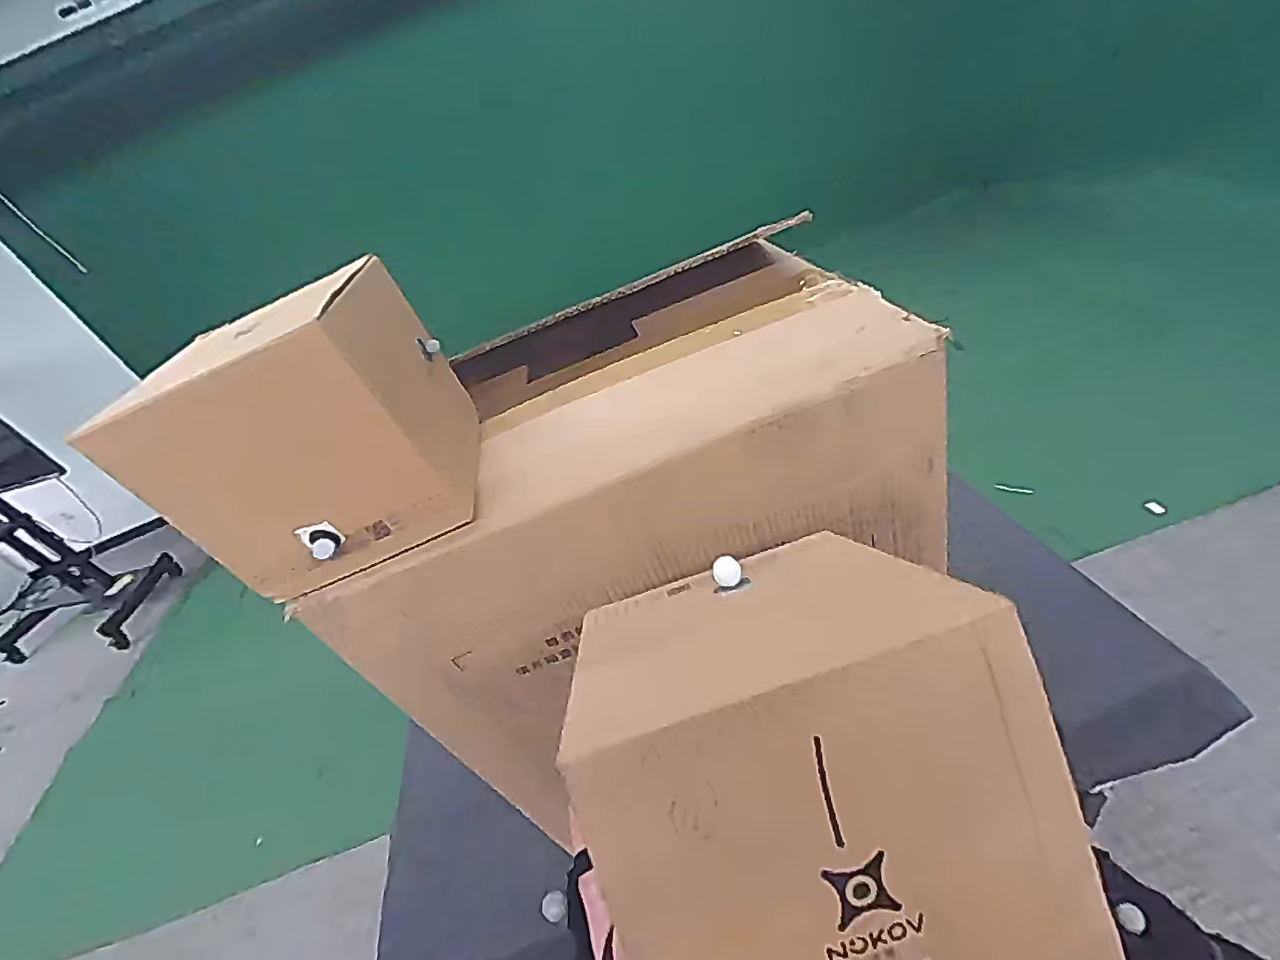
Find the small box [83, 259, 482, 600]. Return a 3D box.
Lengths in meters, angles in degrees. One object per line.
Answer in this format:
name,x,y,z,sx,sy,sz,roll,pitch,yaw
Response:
small box,-0.238,-0.042,0.422,0.168,0.176,0.179,-26,37,2
